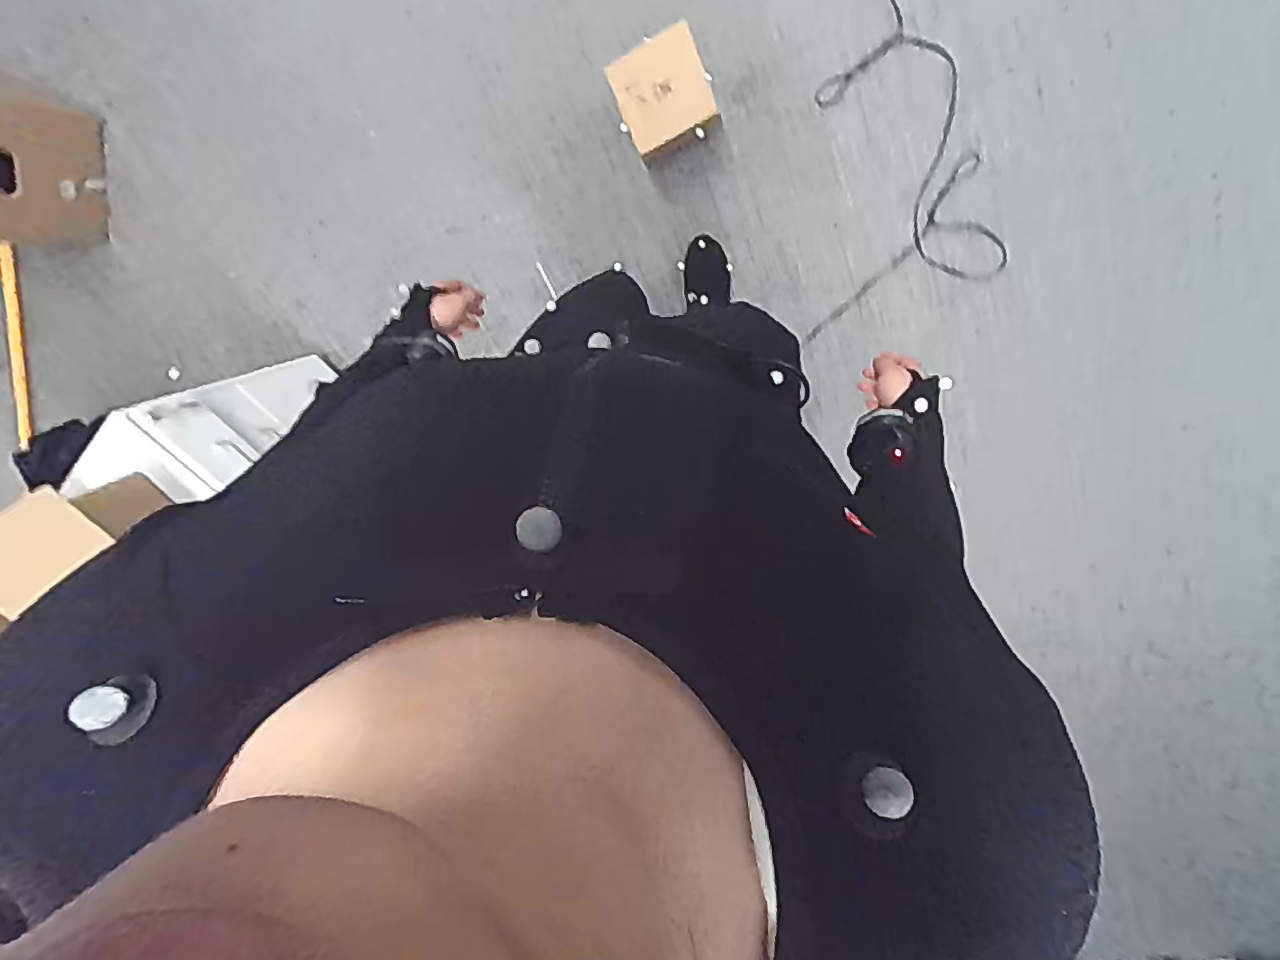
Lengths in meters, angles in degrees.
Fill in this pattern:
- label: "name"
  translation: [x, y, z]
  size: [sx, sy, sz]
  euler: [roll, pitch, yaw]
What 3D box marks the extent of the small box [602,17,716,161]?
- label: "small box"
  translation: [0.043, -0.791, 1.116]
  size: [0.179, 0.176, 0.168]
  euler: [-22, 109, 15]
